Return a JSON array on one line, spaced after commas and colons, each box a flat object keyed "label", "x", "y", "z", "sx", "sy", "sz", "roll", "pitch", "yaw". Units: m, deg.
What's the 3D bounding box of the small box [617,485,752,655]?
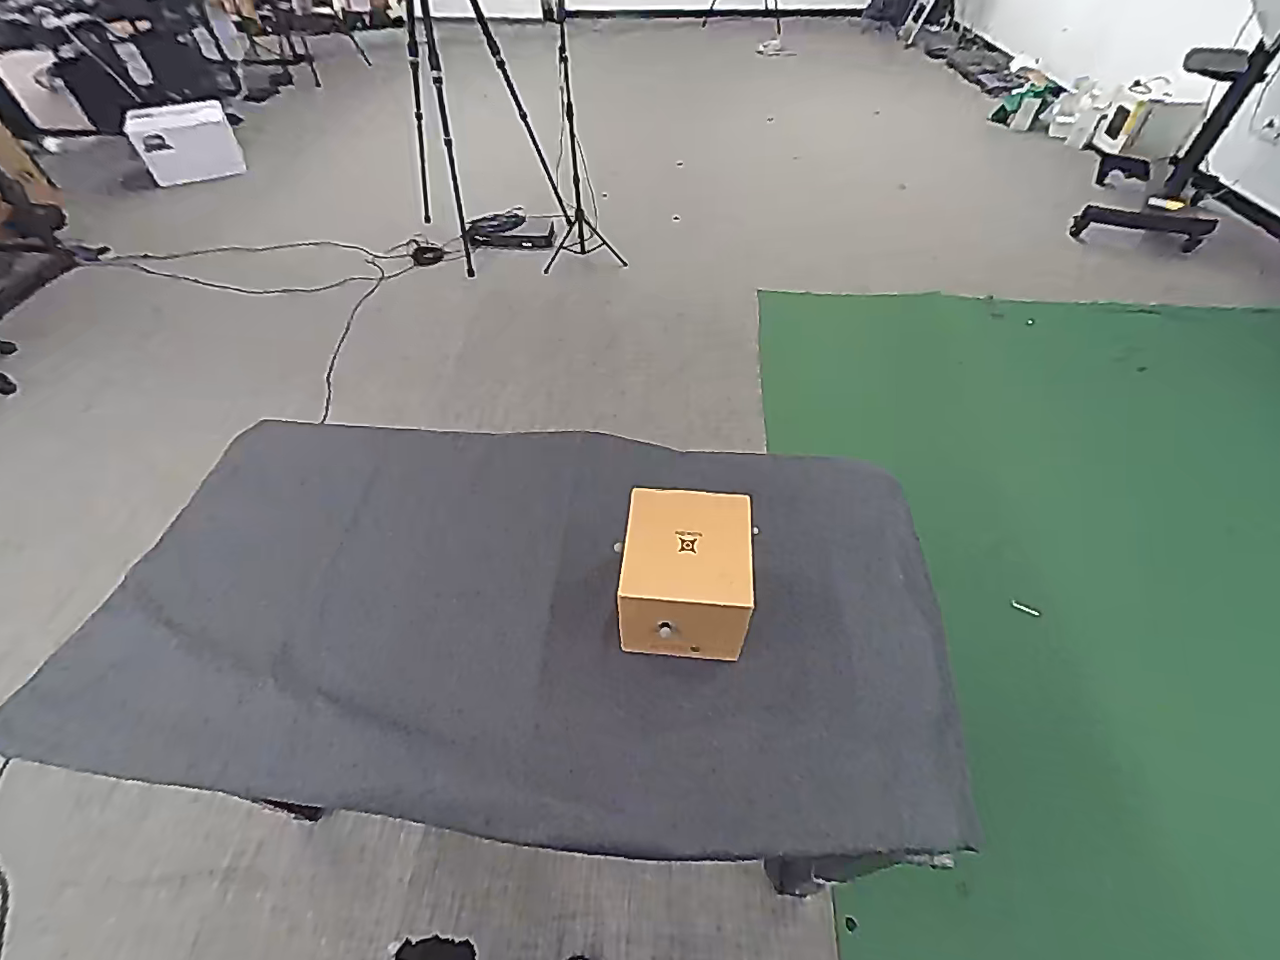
[{"label": "small box", "x": 0.064, "y": 0.129, "z": 0.759, "sx": 0.168, "sy": 0.176, "sz": 0.179, "roll": 4, "pitch": 49, "yaw": 5}]
